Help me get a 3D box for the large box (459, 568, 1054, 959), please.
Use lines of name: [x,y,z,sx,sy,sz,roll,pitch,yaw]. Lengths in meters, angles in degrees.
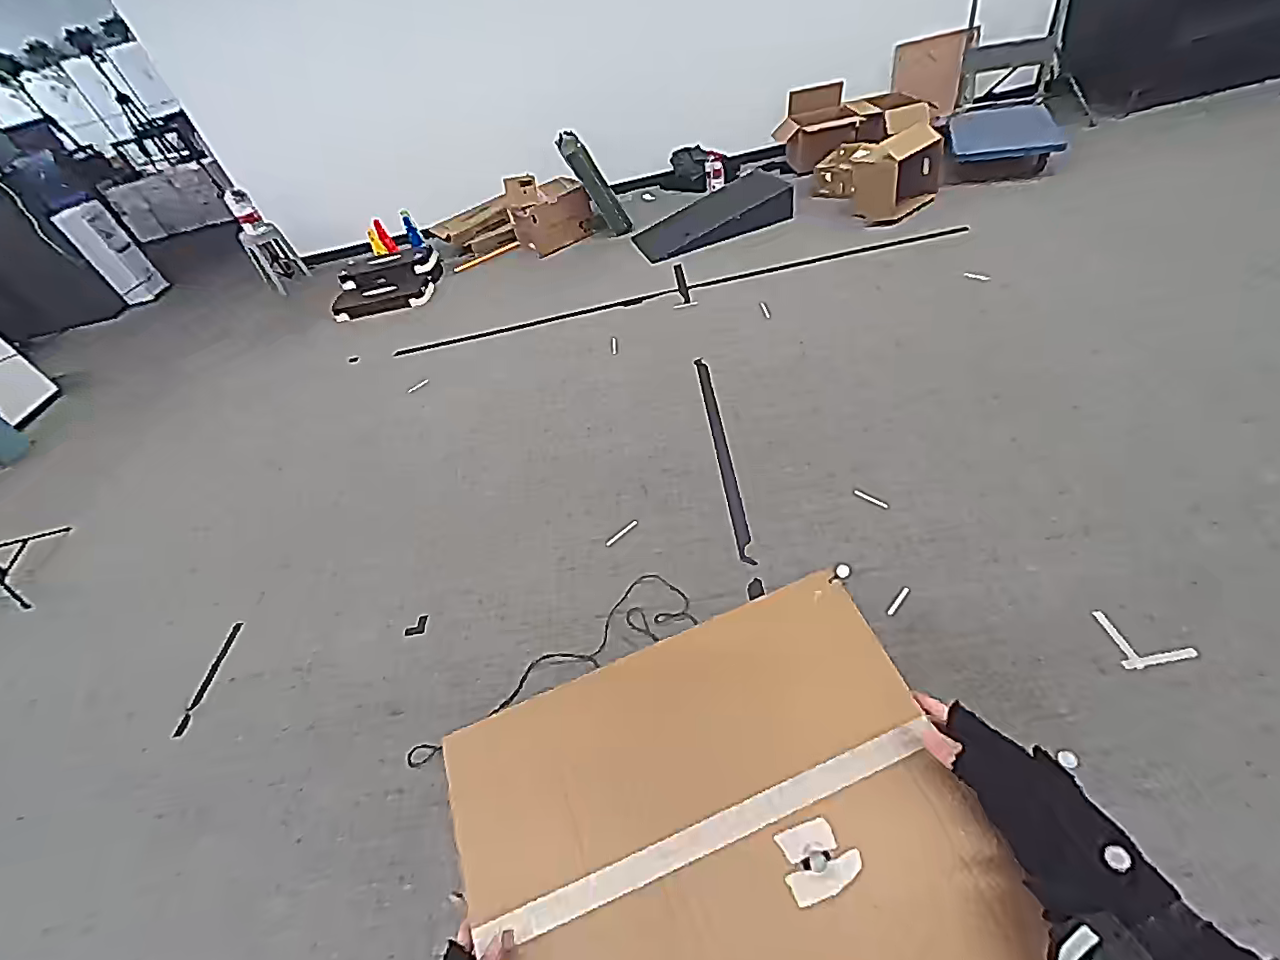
large box: [0.084,0.359,0.574,0.408,0.320,0.320,-23,59,-5]
